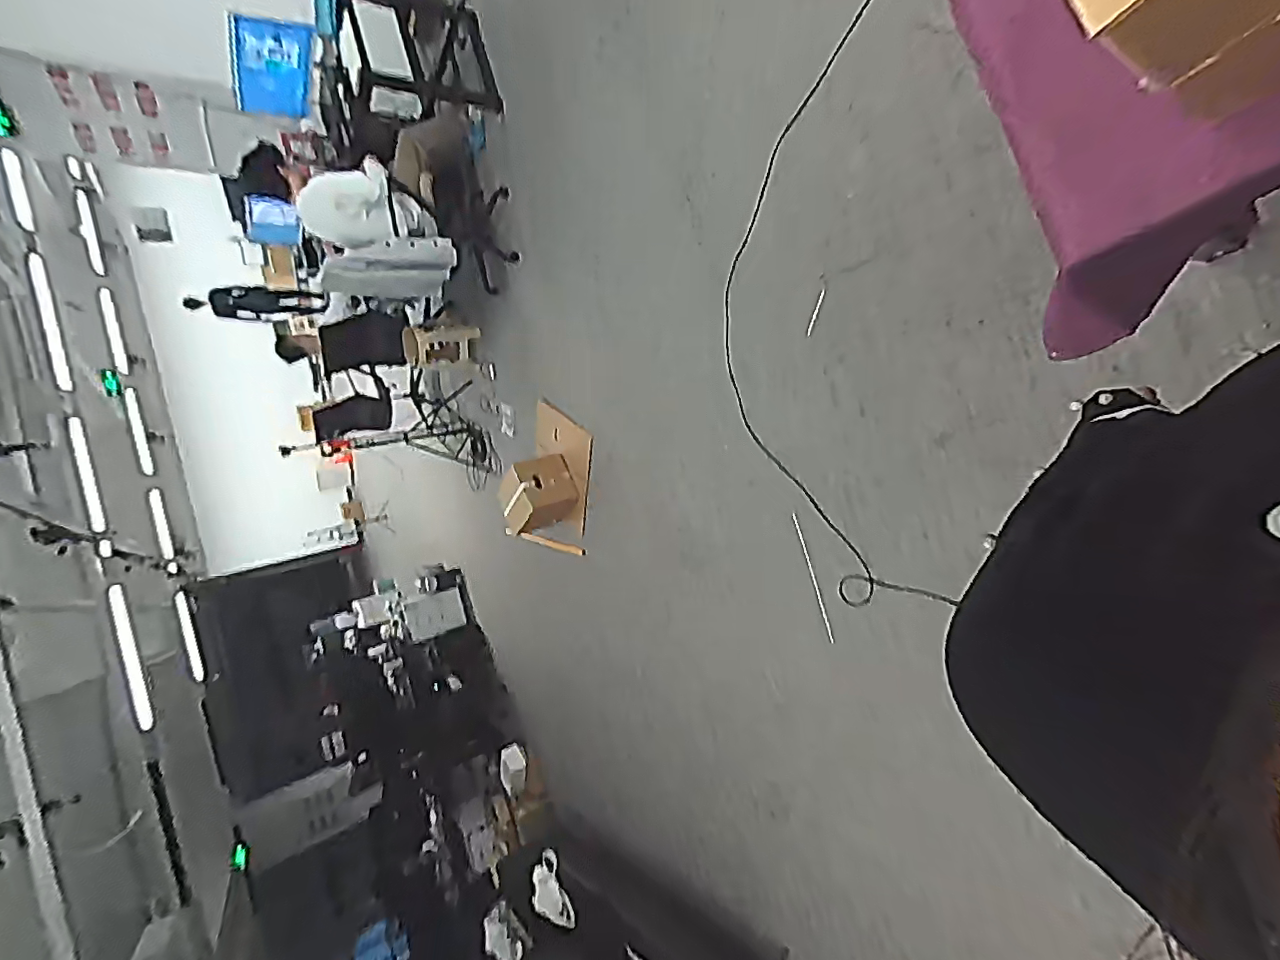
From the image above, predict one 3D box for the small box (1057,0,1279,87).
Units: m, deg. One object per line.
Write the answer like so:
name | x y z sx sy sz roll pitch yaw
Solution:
small box | 0.371 -0.400 0.342 0.179 0.176 0.168 -29 78 52
